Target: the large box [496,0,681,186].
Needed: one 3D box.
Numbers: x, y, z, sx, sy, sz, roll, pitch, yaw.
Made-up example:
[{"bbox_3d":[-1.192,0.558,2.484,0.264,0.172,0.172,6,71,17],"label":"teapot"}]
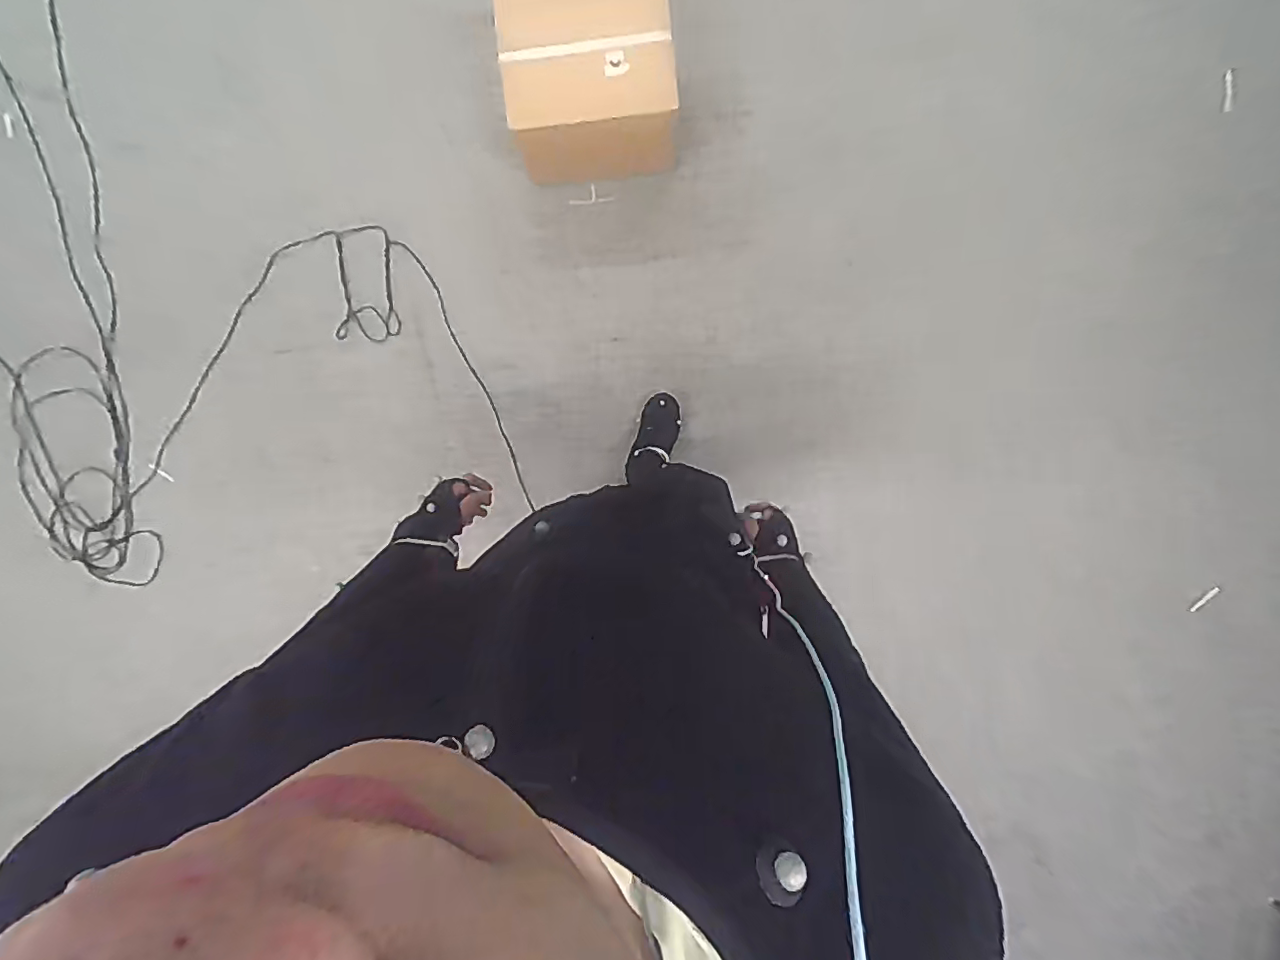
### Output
[{"bbox_3d":[-0.117,-1.009,1.395,0.408,0.320,0.320,-6,95,2],"label":"large box"}]
